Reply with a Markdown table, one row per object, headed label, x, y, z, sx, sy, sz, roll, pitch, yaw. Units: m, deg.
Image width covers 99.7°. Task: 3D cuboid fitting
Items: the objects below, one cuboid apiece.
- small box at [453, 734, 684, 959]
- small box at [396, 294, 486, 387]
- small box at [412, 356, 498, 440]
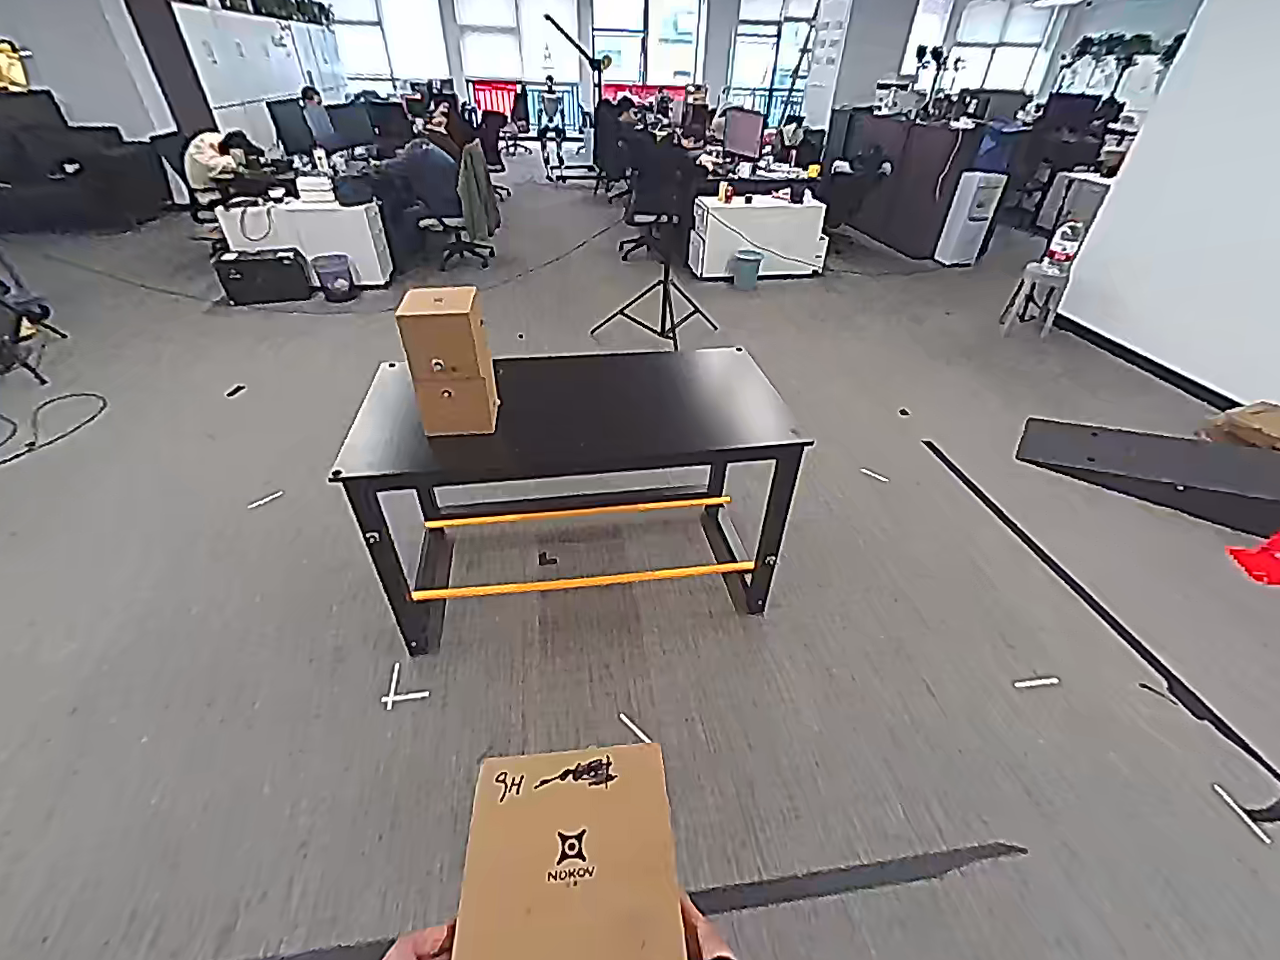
| label | x | y | z | sx | sy | sz | roll | pitch | yaw |
| --- | --- | --- | --- | --- | --- | --- | --- | --- | --- |
| small box | -0.053 | 0.357 | 0.478 | 0.168 | 0.176 | 0.179 | -4 | 37 | -4 |
| small box | -0.481 | -0.346 | 1.337 | 0.168 | 0.176 | 0.179 | -6 | 39 | -7 |
| small box | -0.483 | -0.218 | 1.437 | 0.179 | 0.176 | 0.168 | -3 | 38 | -8 |
